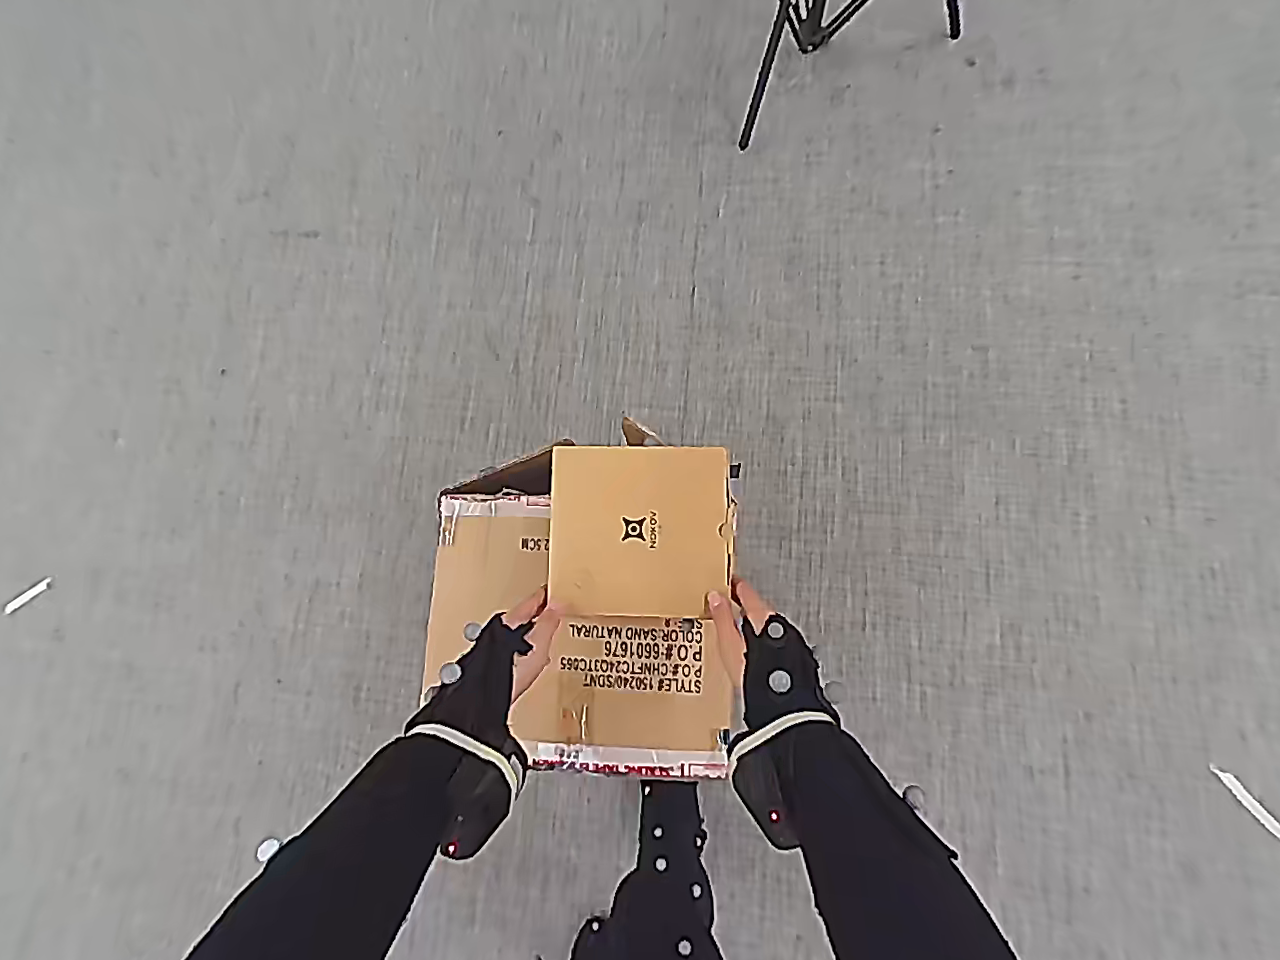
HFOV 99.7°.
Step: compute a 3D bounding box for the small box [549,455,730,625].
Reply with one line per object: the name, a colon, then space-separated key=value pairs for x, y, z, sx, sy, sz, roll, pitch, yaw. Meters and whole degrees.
small box: x=0.006 y=0.069 z=0.605 sx=0.179 sy=0.176 sz=0.168 roll=0 pitch=81 yaw=3
